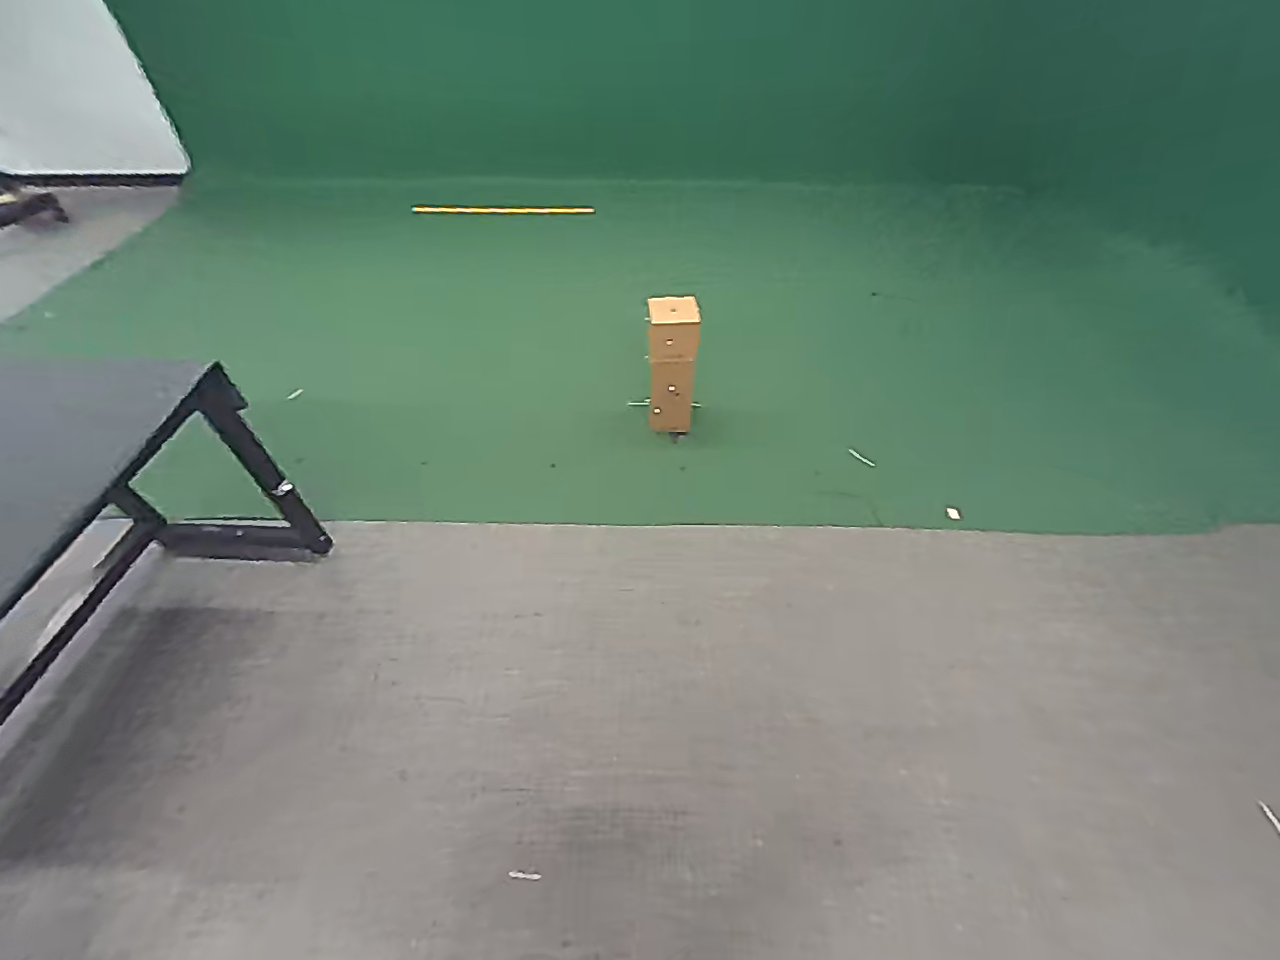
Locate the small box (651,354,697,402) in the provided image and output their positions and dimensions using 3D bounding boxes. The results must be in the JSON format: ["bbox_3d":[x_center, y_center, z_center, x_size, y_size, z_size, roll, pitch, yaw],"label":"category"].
[{"bbox_3d":[0.126,-0.421,2.086,0.168,0.176,0.179,-1,47,0],"label":"small box"}]

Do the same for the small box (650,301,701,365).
[{"bbox_3d":[0.126,-0.529,1.965,0.168,0.176,0.179,-3,46,-2],"label":"small box"}]
